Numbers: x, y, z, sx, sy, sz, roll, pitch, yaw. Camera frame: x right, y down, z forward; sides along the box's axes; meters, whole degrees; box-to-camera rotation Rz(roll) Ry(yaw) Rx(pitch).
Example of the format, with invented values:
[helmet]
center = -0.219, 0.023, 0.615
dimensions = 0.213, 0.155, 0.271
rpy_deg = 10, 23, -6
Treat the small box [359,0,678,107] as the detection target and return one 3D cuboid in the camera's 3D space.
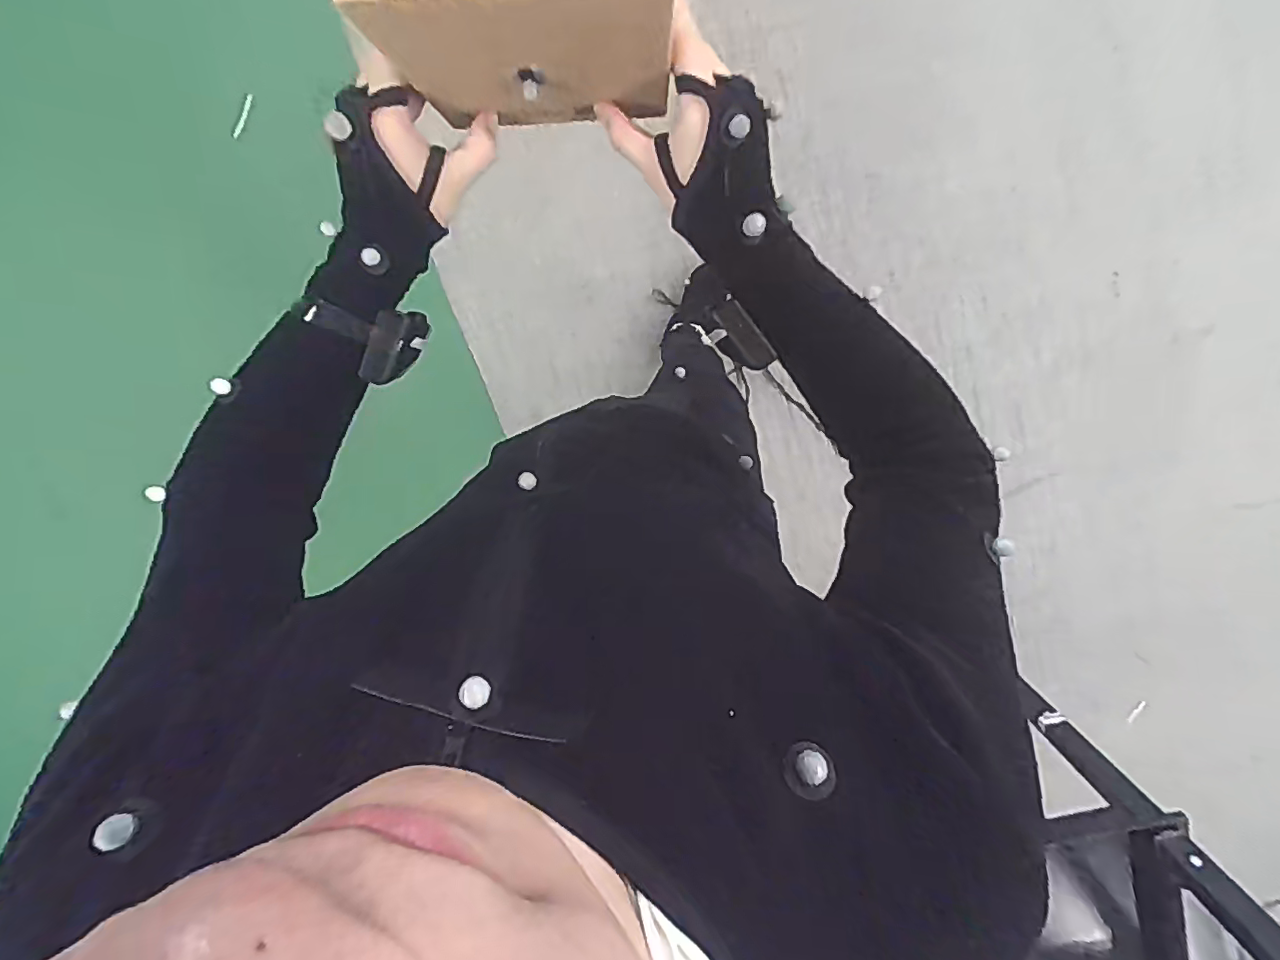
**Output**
[small box]
center = -0.060, -0.339, 0.308
dimensions = 0.168, 0.176, 0.179
rpy_deg = -1, 104, 0
